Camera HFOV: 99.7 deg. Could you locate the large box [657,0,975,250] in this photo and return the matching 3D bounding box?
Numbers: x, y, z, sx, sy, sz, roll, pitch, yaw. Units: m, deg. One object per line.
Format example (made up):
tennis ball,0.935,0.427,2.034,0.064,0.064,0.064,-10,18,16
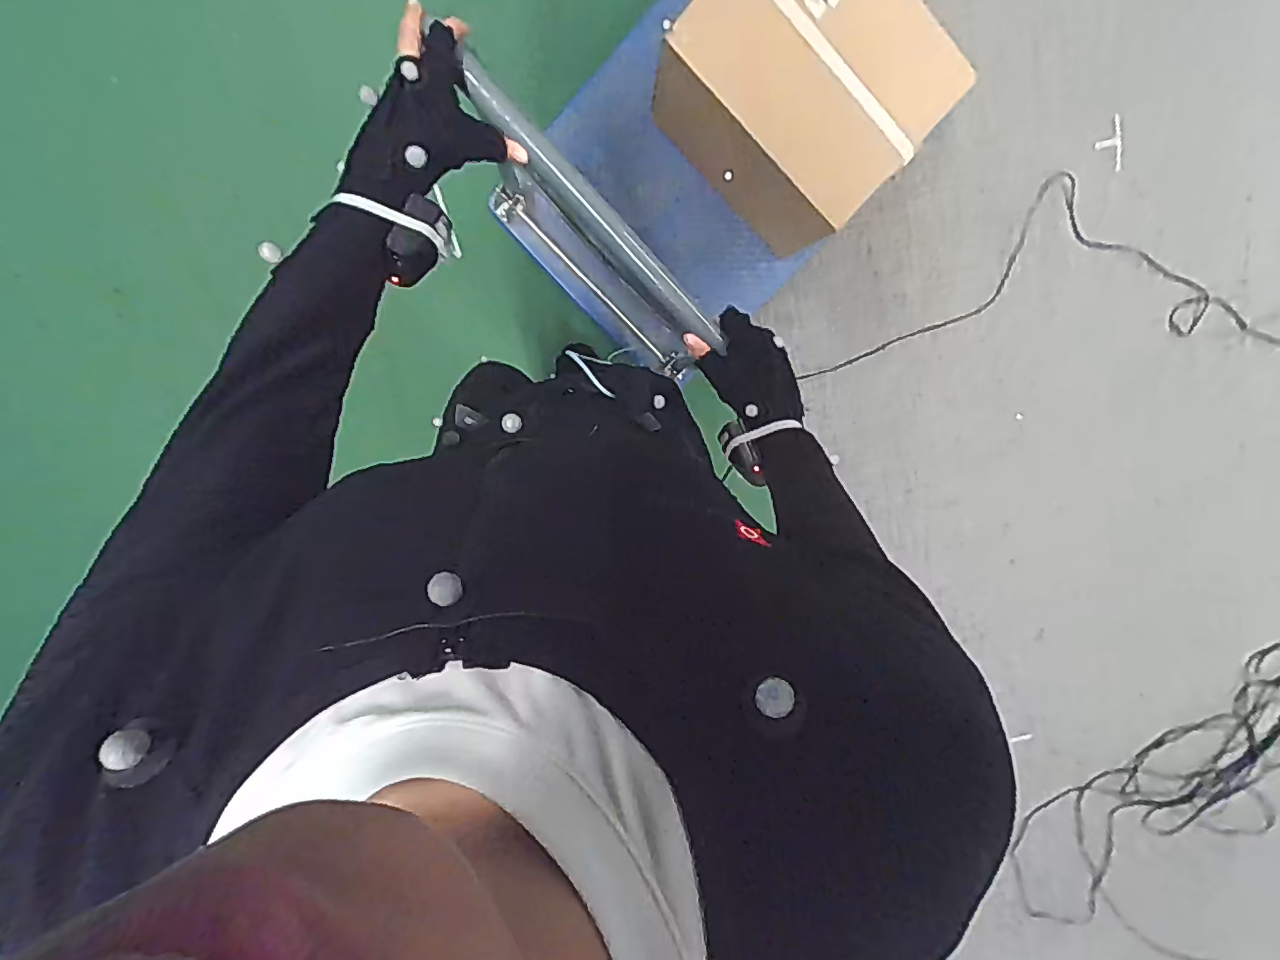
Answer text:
large box,0.283,-0.699,0.988,0.408,0.320,0.320,41,98,-11
